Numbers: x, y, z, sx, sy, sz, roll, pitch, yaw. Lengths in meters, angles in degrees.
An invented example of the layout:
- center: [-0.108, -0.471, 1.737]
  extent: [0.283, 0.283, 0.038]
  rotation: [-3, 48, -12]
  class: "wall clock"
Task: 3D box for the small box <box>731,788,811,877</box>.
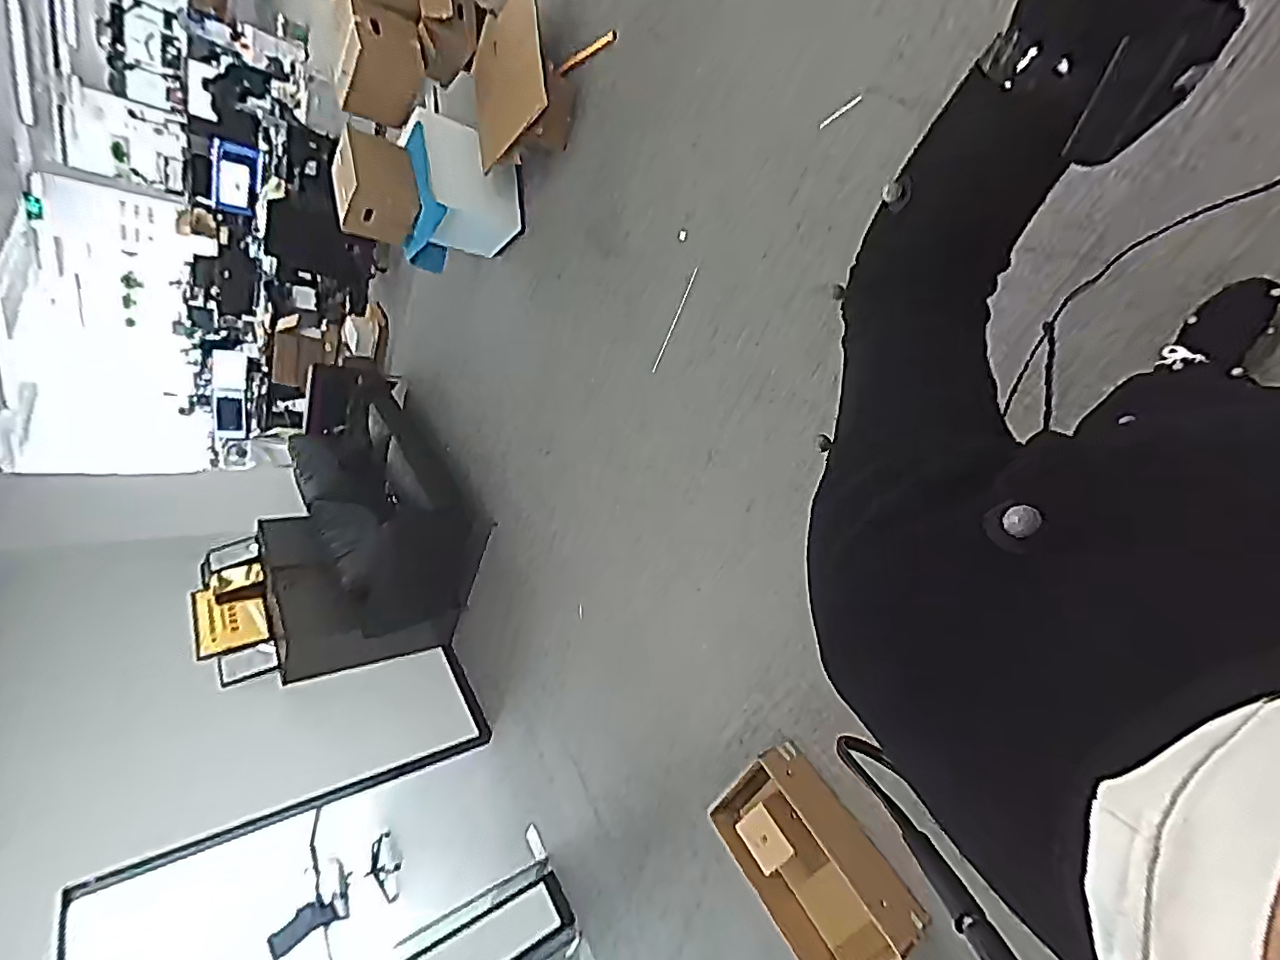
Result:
- center: [0.449, 1.184, 1.827]
  extent: [0.168, 0.176, 0.179]
  rotation: [50, 125, 34]
  class: "small box"
